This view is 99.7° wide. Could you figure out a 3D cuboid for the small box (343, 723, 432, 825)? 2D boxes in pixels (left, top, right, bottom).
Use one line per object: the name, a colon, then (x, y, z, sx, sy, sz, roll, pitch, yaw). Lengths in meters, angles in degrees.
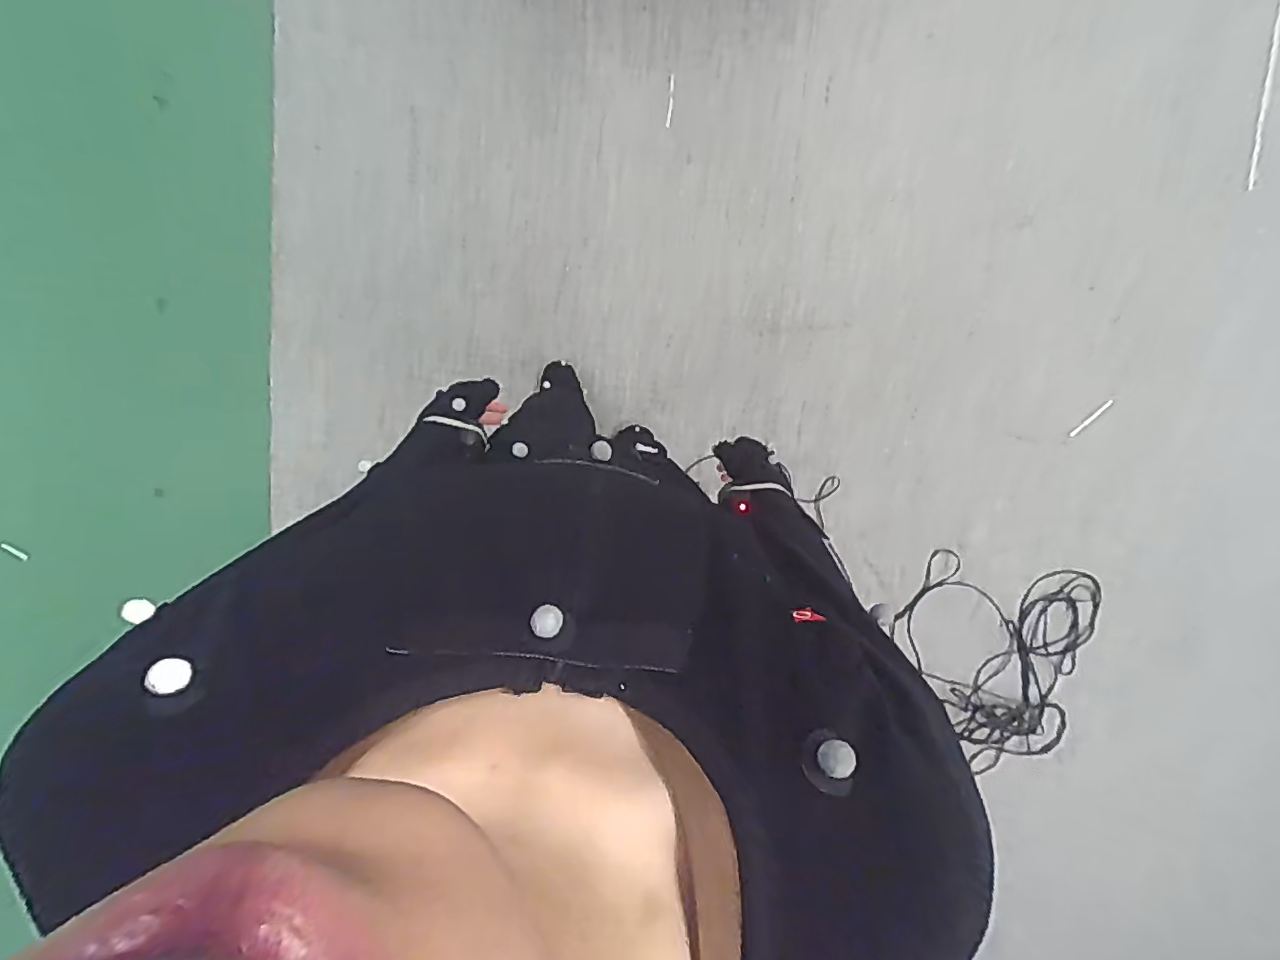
small box: (-0.685, 0.801, 1.482, 0.168, 0.176, 0.179, 6, 95, -2)
